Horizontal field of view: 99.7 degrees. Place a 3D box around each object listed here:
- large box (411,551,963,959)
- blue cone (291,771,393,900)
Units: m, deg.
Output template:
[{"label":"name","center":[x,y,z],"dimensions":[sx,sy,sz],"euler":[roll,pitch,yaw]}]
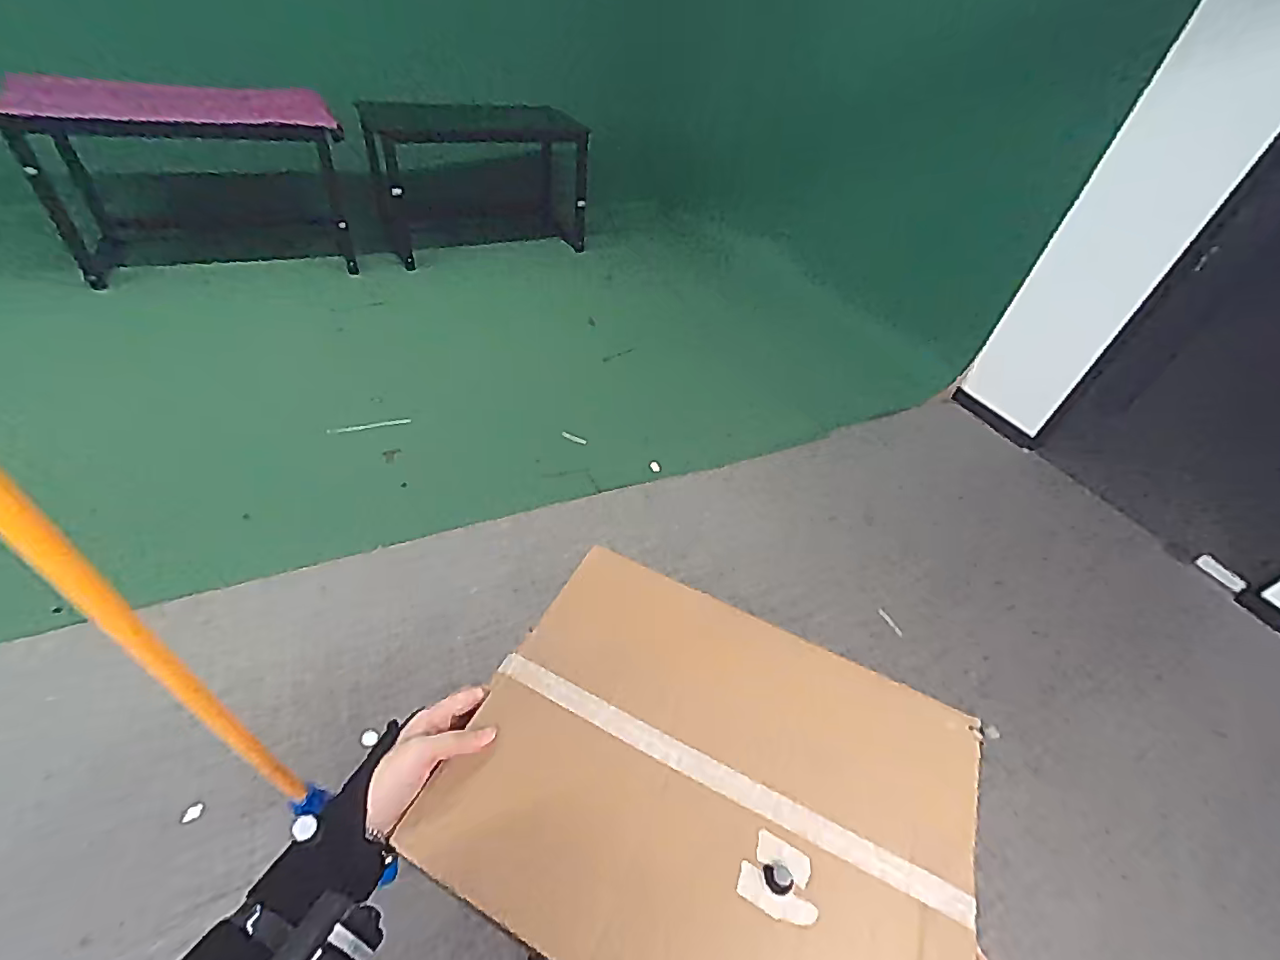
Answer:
[{"label":"large box","center":[0.049,0.345,0.568],"dimensions":[0.408,0.320,0.320],"euler":[23,49,14]},{"label":"blue cone","center":[-0.636,0.690,1.099],"dimensions":[0.193,0.380,0.192],"euler":[-6,45,-17]}]
